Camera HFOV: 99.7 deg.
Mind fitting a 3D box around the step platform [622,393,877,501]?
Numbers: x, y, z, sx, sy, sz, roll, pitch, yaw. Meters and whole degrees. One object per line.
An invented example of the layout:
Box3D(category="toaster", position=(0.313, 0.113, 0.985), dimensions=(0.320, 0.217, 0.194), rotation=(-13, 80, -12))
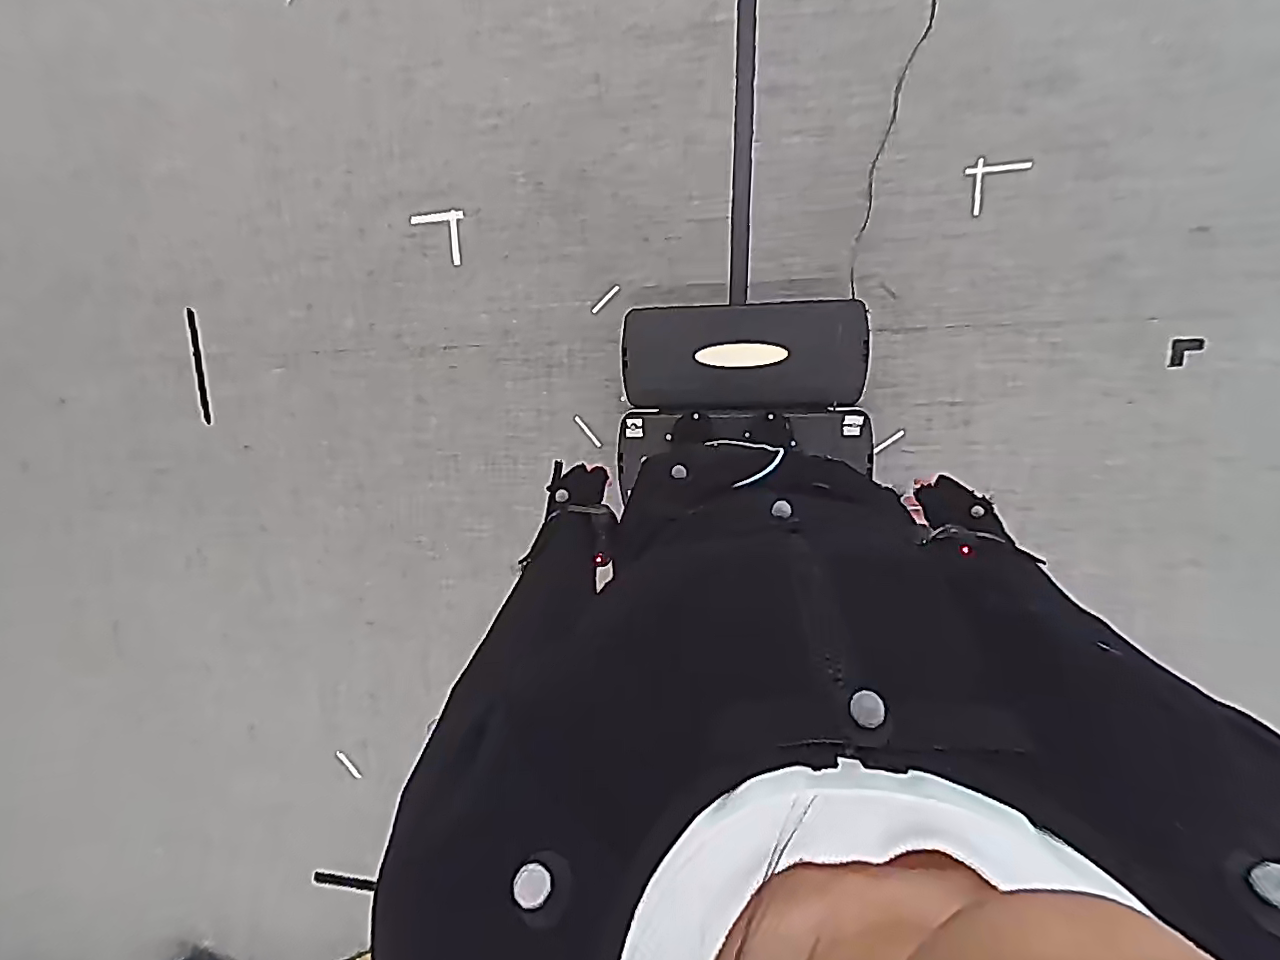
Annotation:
Box3D(category="step platform", position=(0.291, -0.091, 1.511), dimensions=(0.684, 0.204, 0.286), rotation=(0, 99, 11))
